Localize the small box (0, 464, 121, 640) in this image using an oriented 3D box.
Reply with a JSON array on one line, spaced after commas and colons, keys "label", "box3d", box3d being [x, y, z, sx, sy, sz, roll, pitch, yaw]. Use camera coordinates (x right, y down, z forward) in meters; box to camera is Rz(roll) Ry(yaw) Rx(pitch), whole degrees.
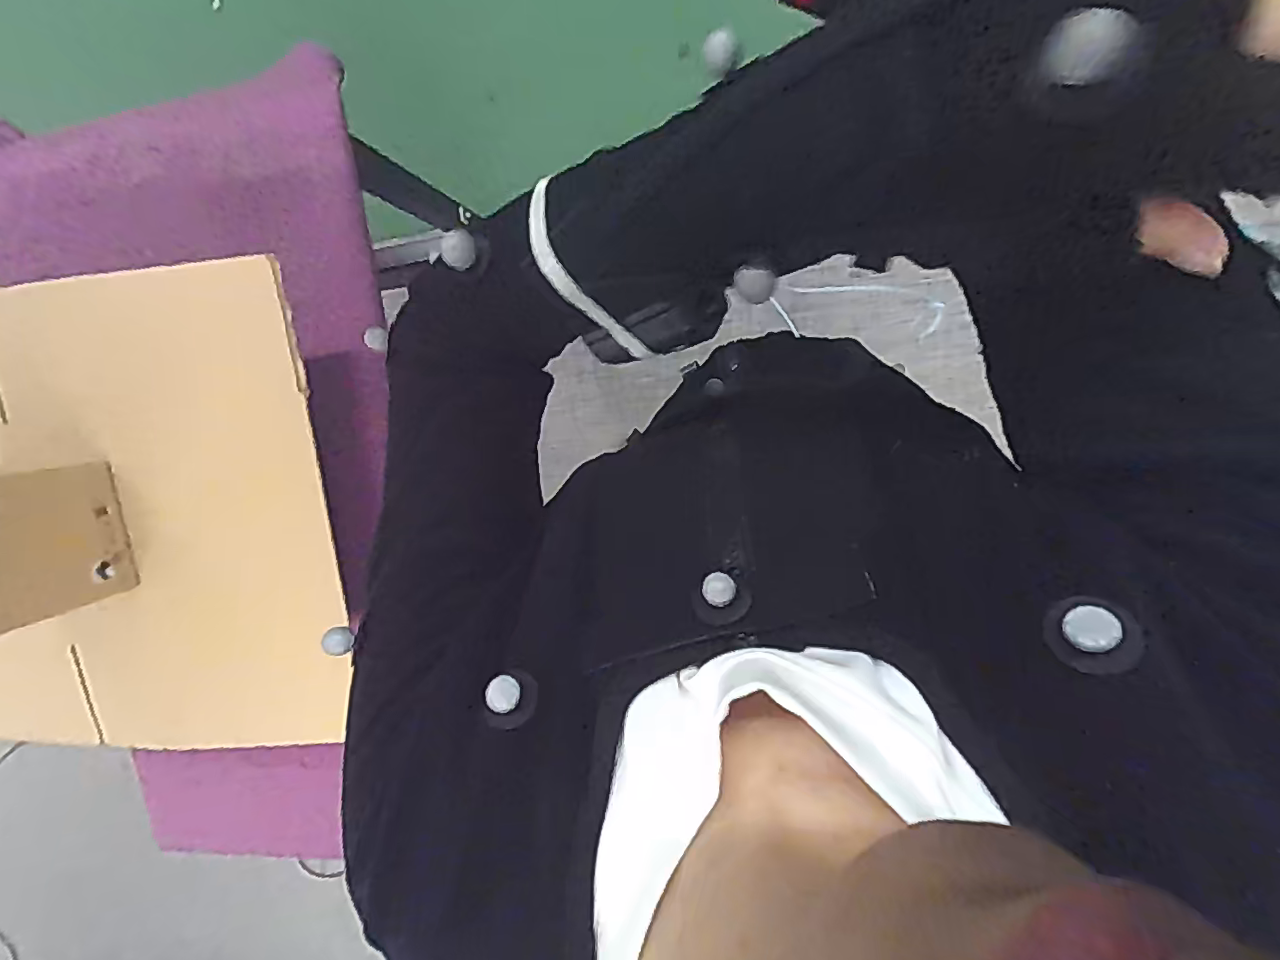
[{"label": "small box", "box3d": [-0.737, 0.081, 0.599, 0.179, 0.176, 0.168, -6, 100, 10]}]
